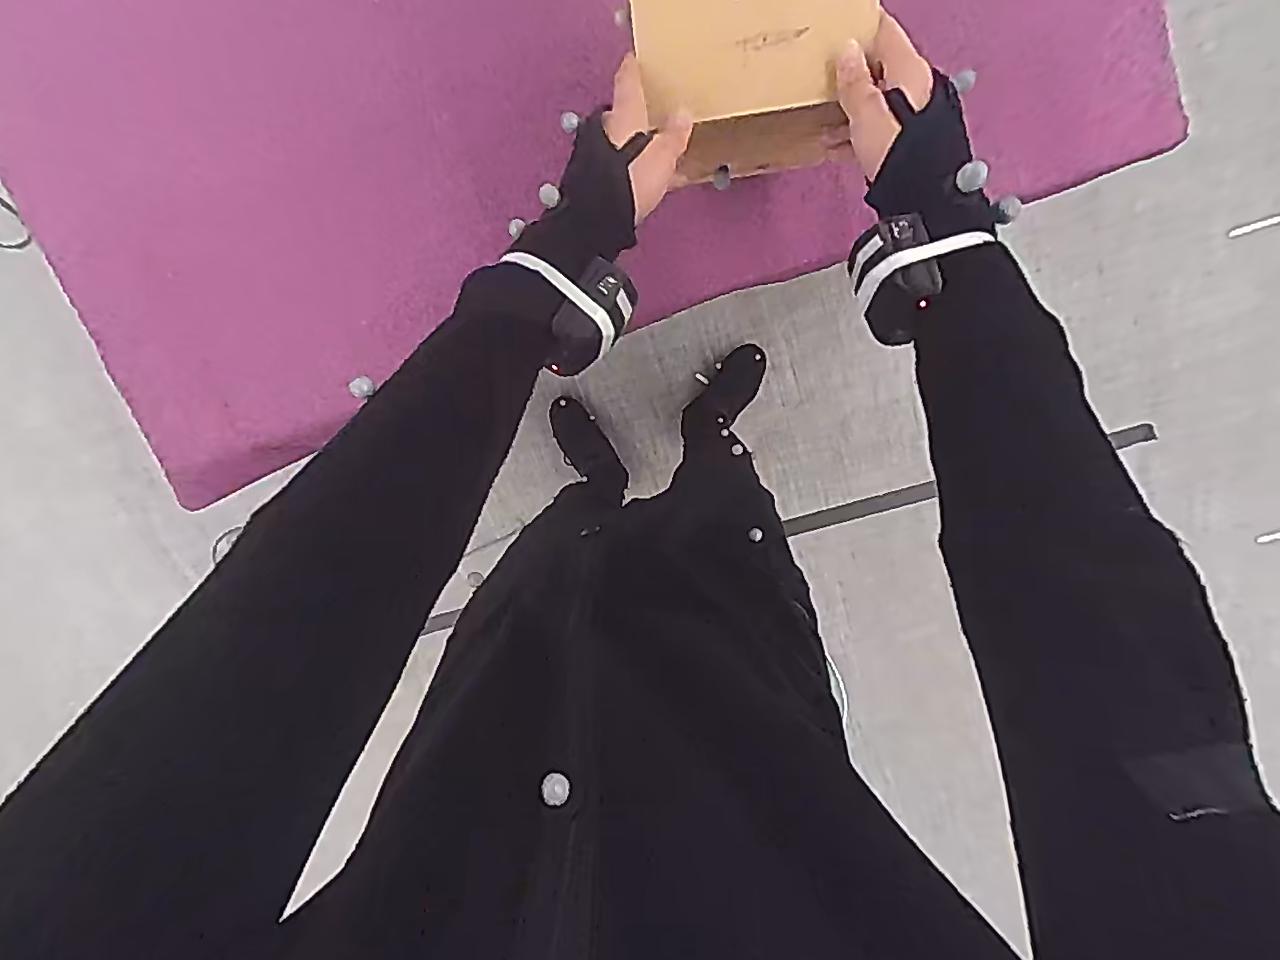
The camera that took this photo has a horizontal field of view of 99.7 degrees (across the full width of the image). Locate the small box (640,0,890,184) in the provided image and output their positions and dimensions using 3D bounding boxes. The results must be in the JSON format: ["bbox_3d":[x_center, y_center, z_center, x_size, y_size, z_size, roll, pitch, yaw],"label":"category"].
[{"bbox_3d":[0.085,-0.361,0.429,0.168,0.176,0.179,-4,105,6],"label":"small box"}]
